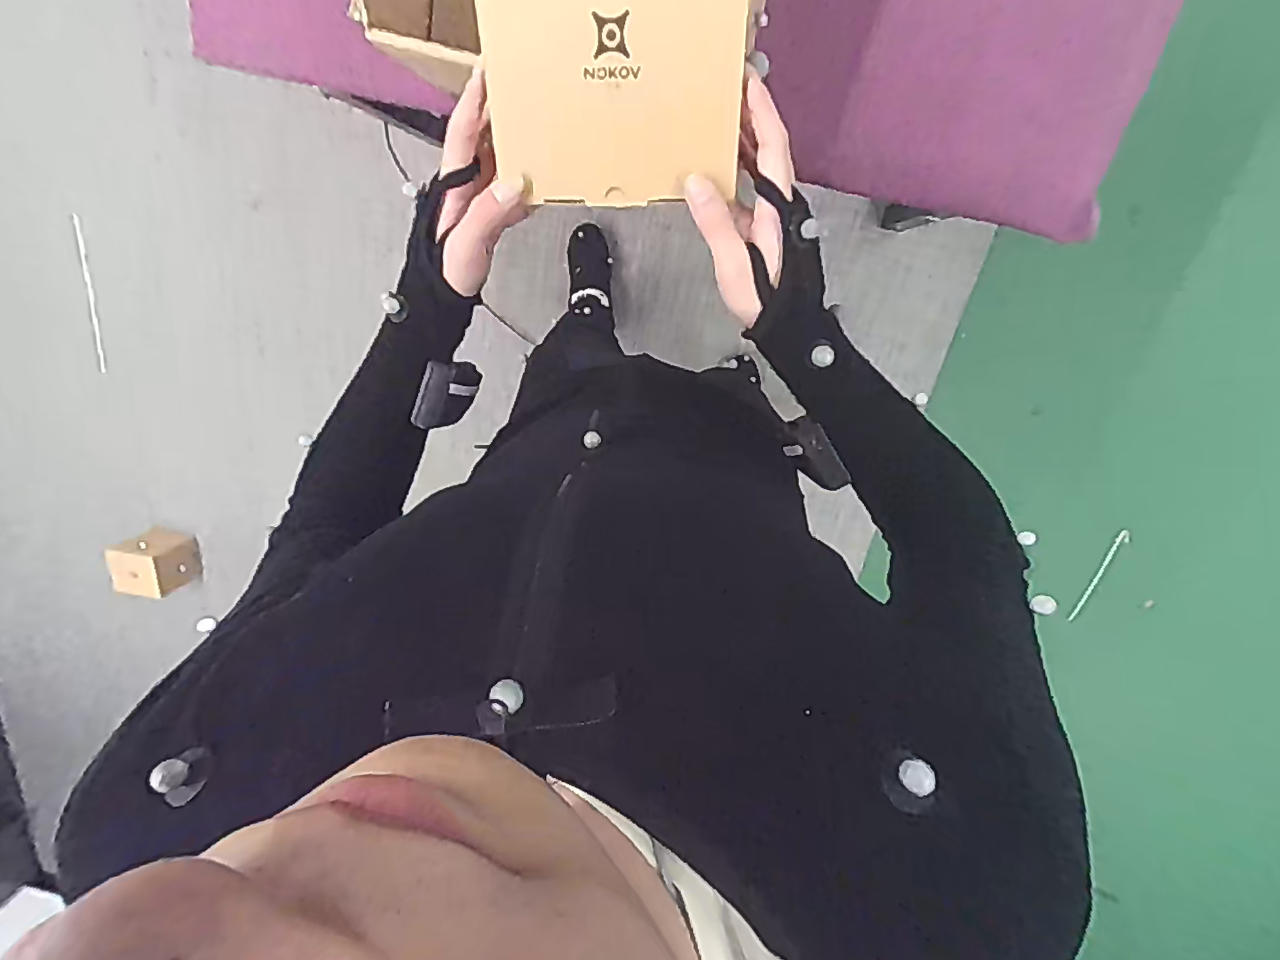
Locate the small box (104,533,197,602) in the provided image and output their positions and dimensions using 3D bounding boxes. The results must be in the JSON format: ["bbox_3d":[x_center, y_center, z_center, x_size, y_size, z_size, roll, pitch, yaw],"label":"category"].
[{"bbox_3d":[-1.699,0.301,1.894,0.179,0.176,0.168,9,110,4],"label":"small box"}]
